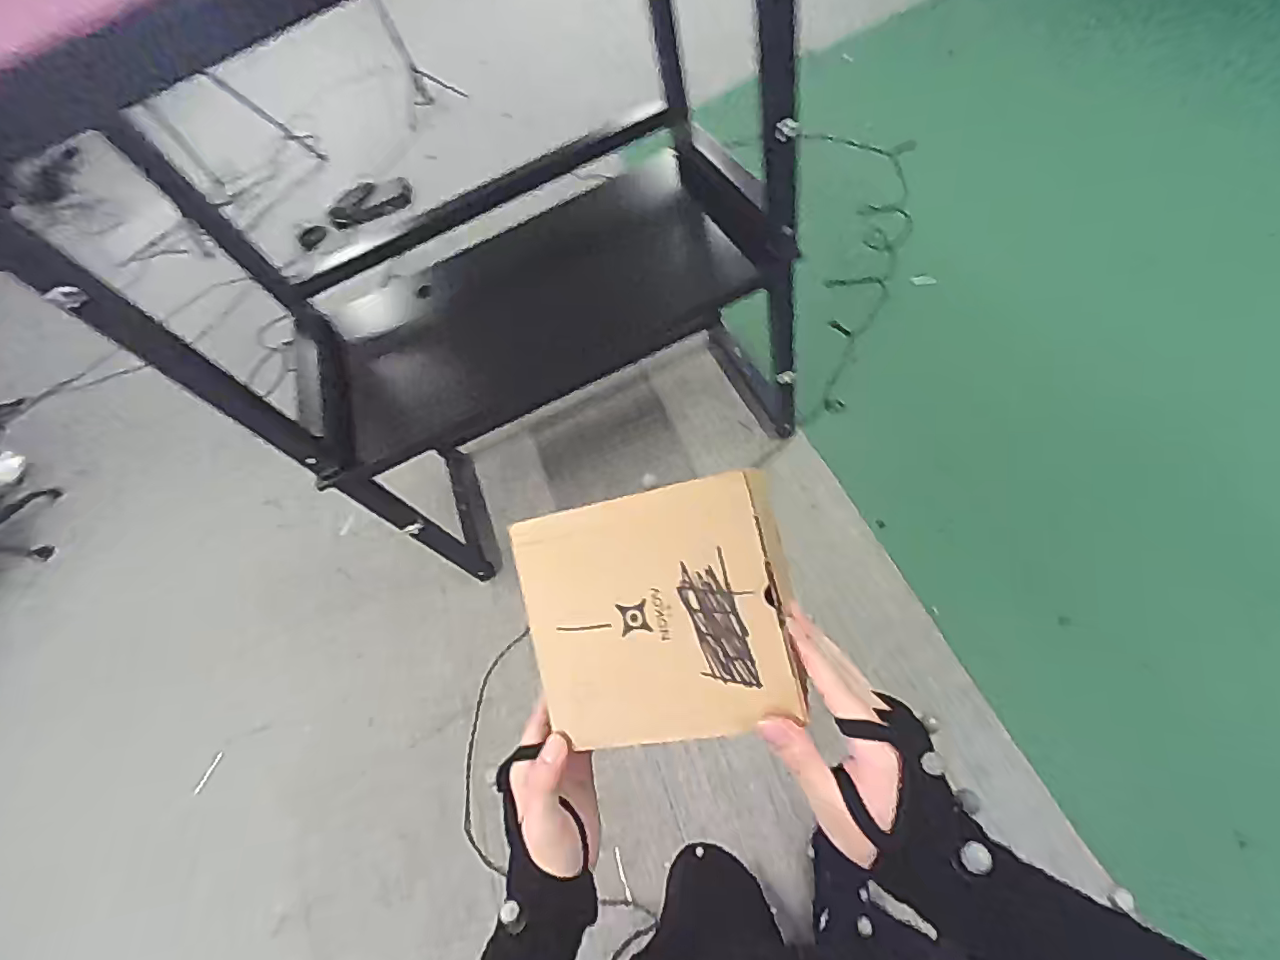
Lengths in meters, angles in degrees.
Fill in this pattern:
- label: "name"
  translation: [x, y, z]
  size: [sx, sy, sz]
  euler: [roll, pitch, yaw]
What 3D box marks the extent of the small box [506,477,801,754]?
- label: "small box"
  translation: [0.023, 0.094, 0.439]
  size: [0.179, 0.176, 0.168]
  euler: [-15, 85, 16]
